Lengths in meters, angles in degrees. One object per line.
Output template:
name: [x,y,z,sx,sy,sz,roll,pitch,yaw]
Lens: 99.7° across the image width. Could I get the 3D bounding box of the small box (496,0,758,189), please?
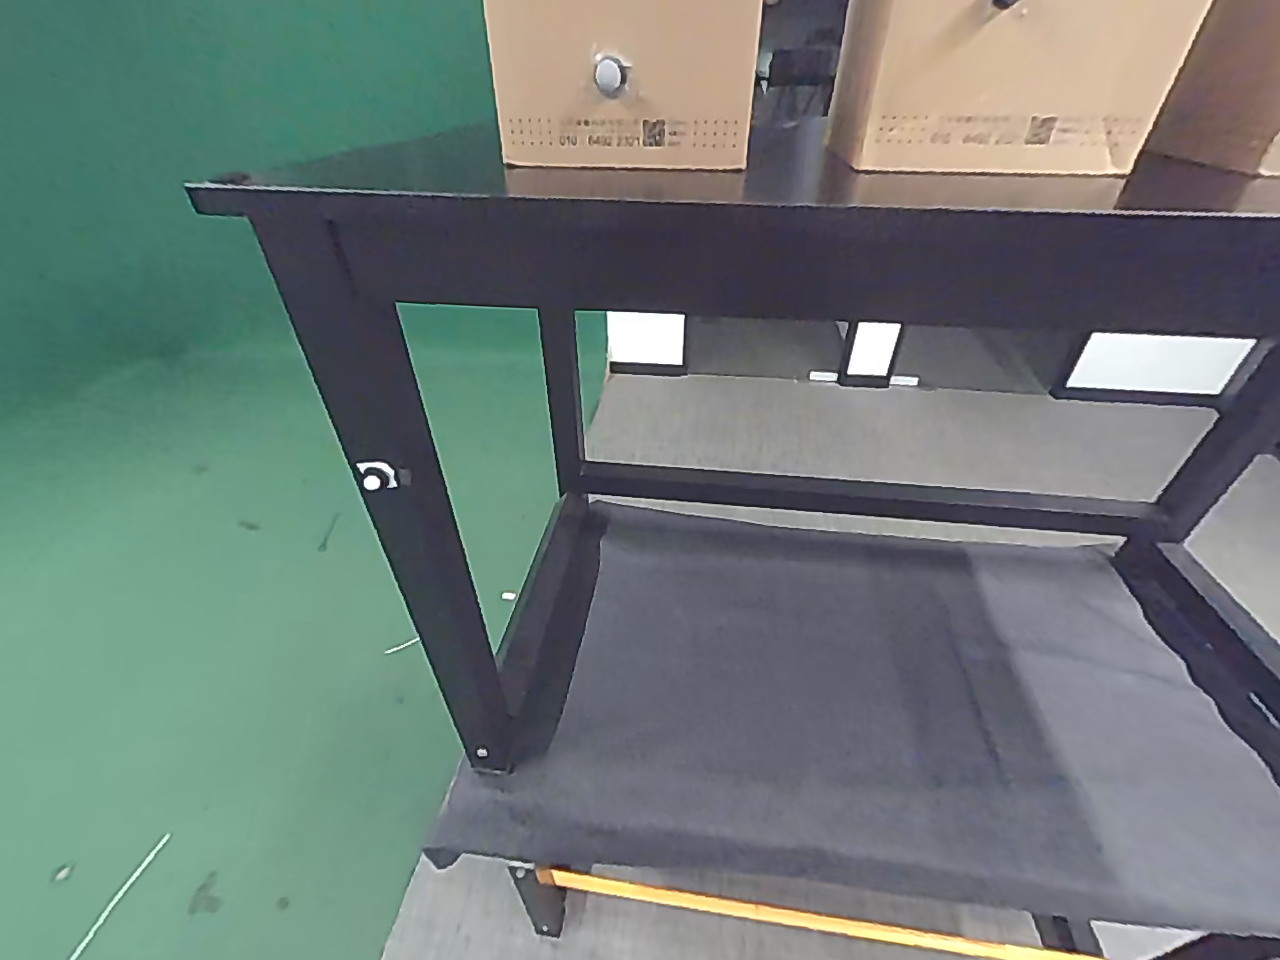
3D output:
small box: [-0.003,-0.324,0.396,0.168,0.176,0.179,4,38,5]
